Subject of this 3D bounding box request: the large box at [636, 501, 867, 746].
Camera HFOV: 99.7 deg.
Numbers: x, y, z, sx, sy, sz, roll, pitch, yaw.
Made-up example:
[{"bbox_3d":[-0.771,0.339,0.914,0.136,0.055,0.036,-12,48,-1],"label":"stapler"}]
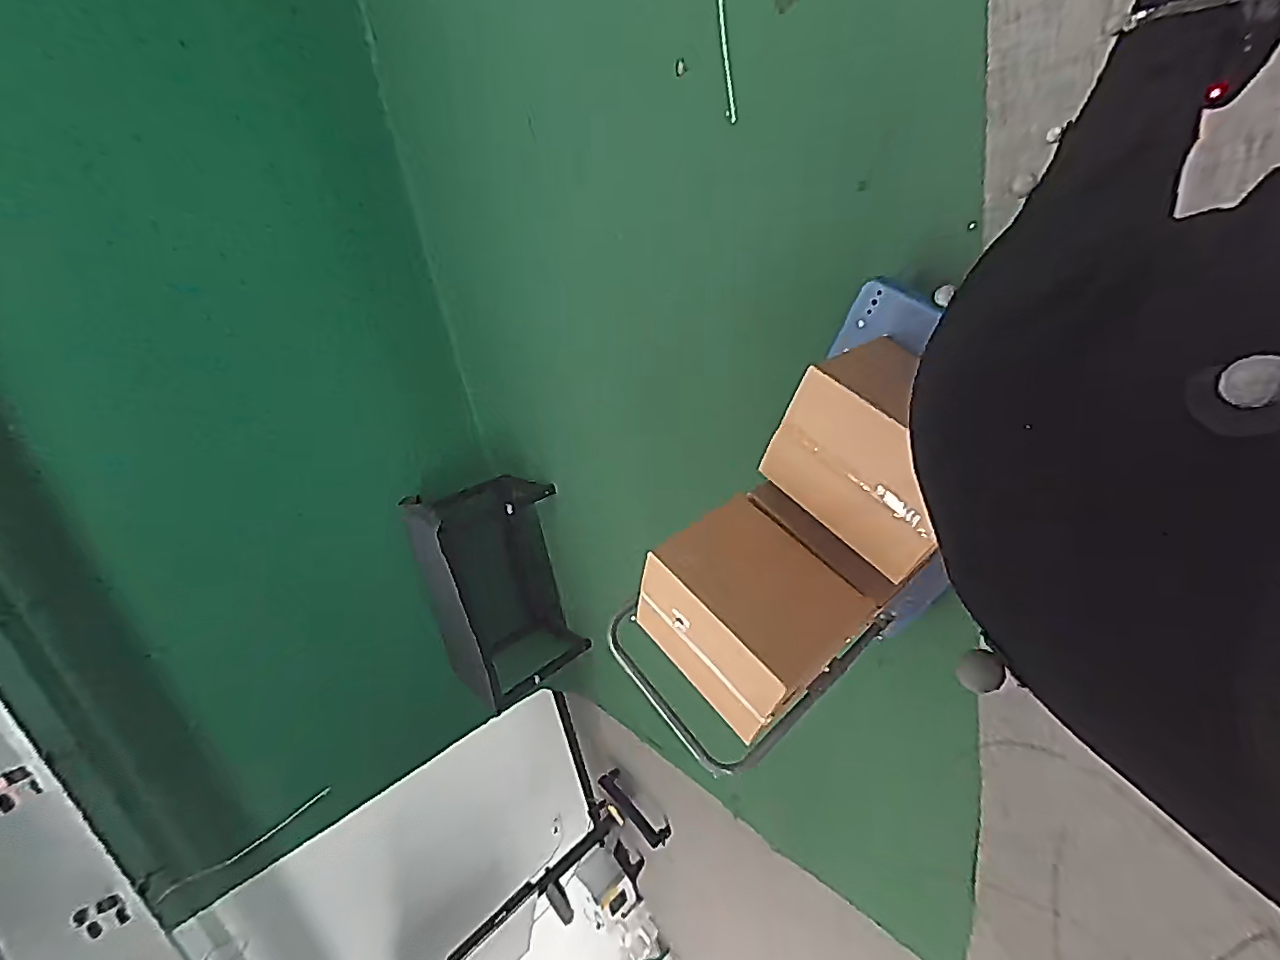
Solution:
[{"bbox_3d":[0.244,0.326,1.290,0.408,0.320,0.320,43,144,30],"label":"large box"}]
